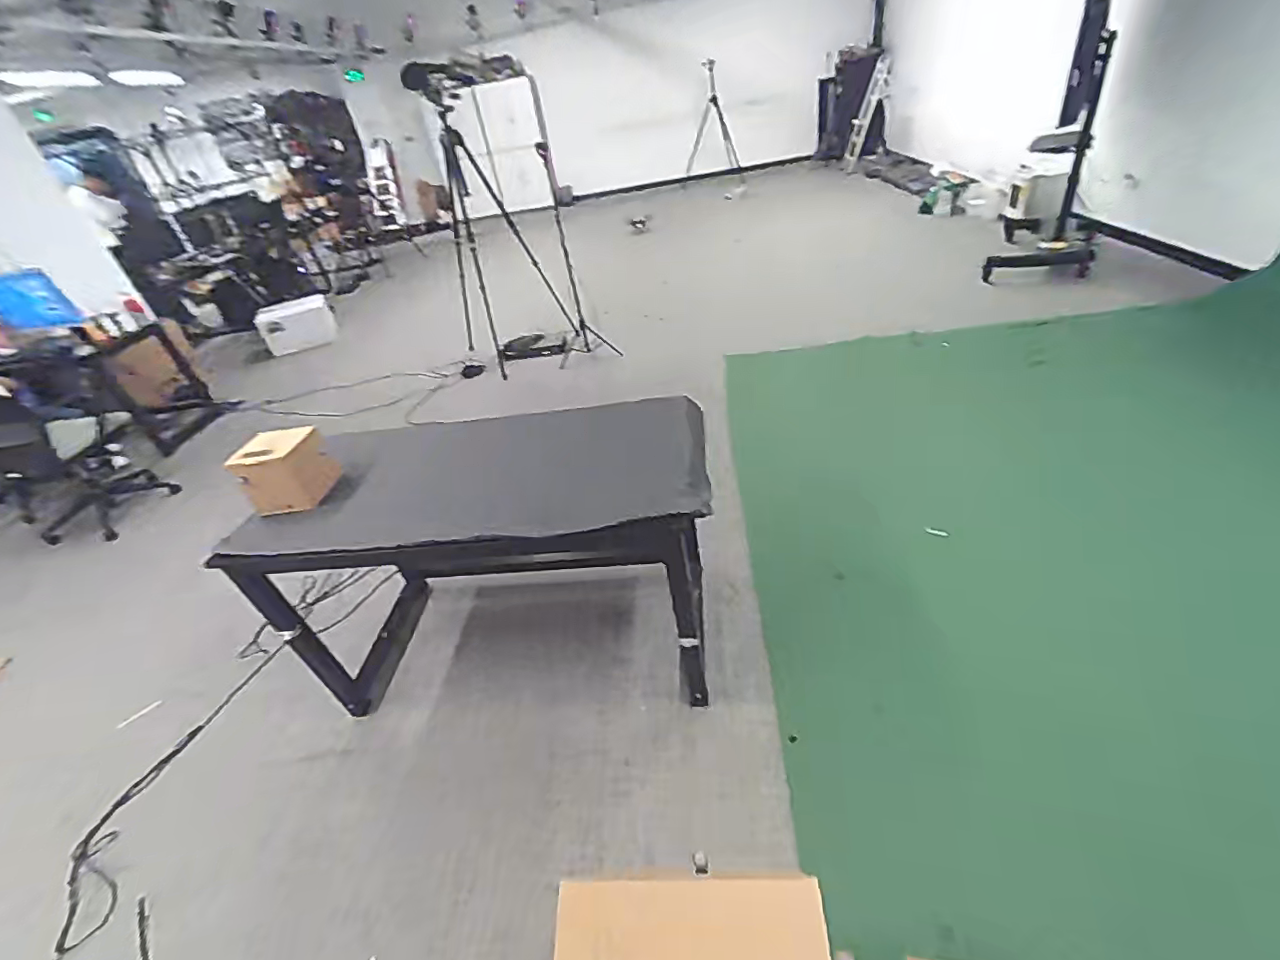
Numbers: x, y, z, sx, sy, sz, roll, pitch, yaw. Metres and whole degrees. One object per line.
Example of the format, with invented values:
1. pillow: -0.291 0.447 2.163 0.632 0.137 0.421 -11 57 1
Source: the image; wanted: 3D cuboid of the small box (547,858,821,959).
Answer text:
1. small box: 0.035 0.362 0.361 0.168 0.176 0.179 -6 55 7
